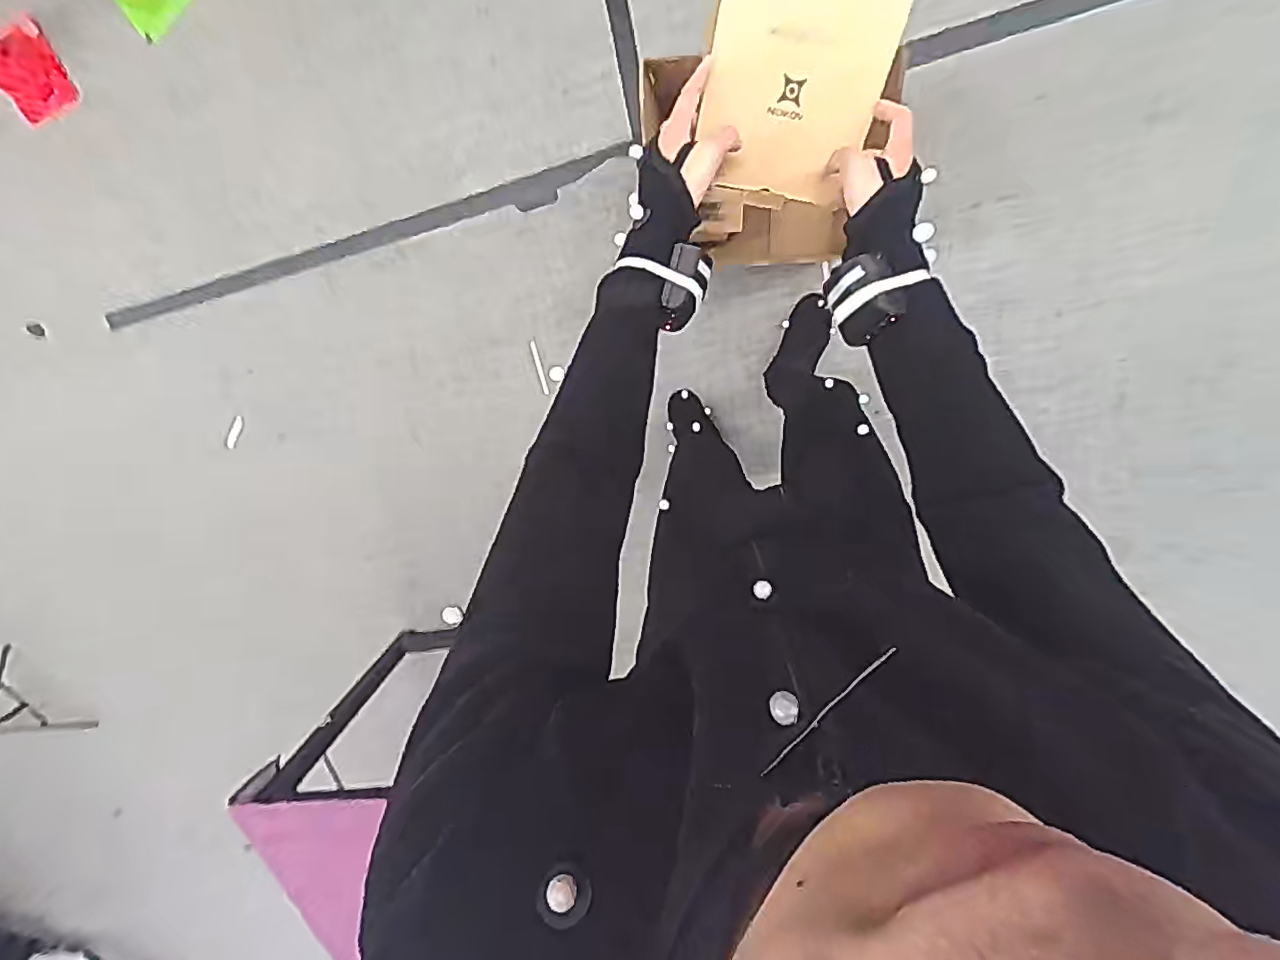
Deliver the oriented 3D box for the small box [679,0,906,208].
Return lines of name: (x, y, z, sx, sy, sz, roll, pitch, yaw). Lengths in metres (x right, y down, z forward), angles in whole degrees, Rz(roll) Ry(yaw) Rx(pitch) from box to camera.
small box: (0.140, -0.412, 0.570, 0.168, 0.176, 0.179, 9, 127, -4)
